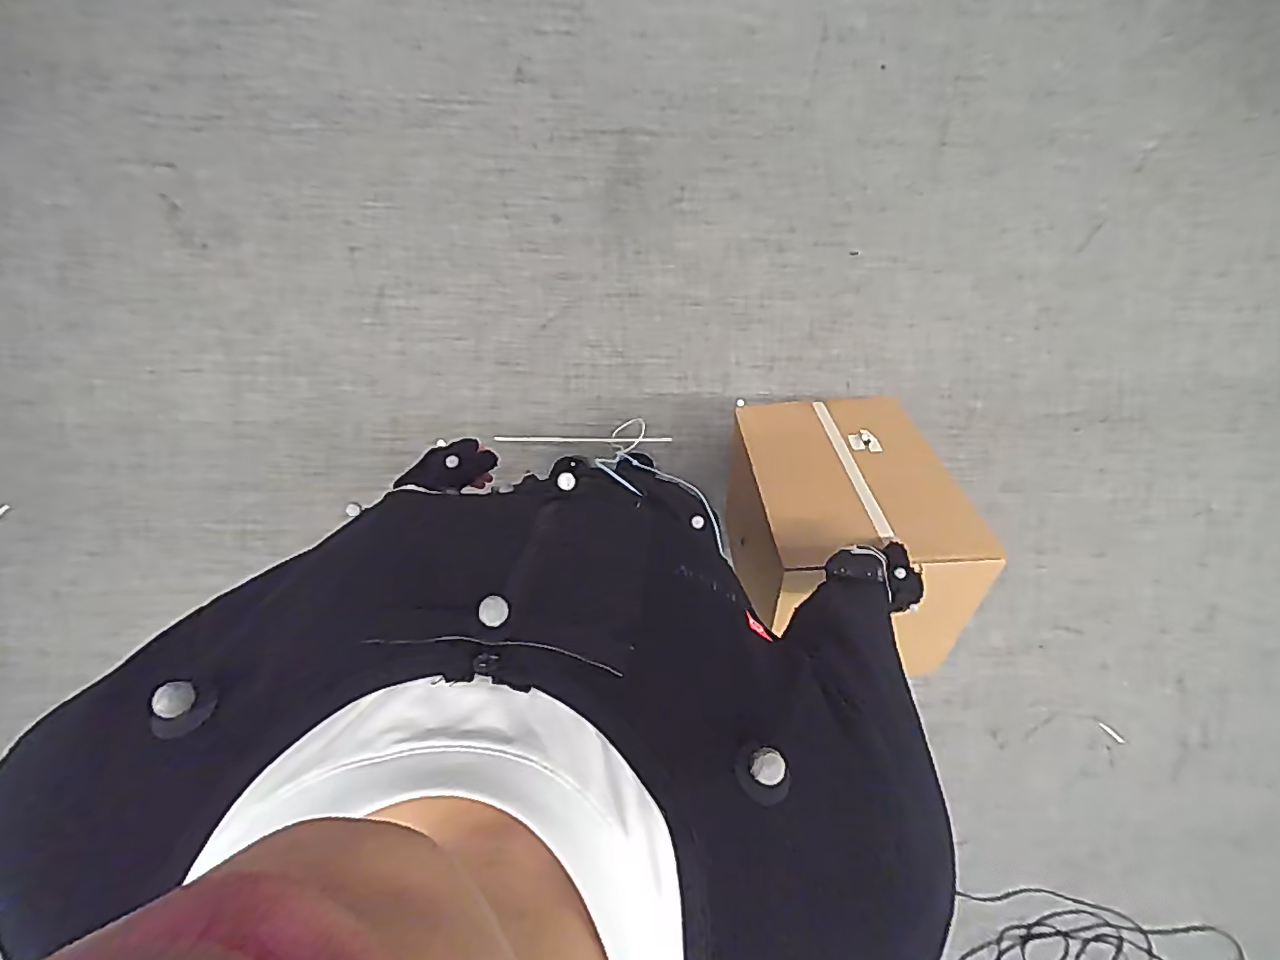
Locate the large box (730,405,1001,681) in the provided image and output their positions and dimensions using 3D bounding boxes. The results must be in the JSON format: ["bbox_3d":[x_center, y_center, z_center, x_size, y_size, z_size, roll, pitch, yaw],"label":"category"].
[{"bbox_3d":[0.357,0.105,1.002,0.320,0.408,0.320,-3,130,0],"label":"large box"}]
